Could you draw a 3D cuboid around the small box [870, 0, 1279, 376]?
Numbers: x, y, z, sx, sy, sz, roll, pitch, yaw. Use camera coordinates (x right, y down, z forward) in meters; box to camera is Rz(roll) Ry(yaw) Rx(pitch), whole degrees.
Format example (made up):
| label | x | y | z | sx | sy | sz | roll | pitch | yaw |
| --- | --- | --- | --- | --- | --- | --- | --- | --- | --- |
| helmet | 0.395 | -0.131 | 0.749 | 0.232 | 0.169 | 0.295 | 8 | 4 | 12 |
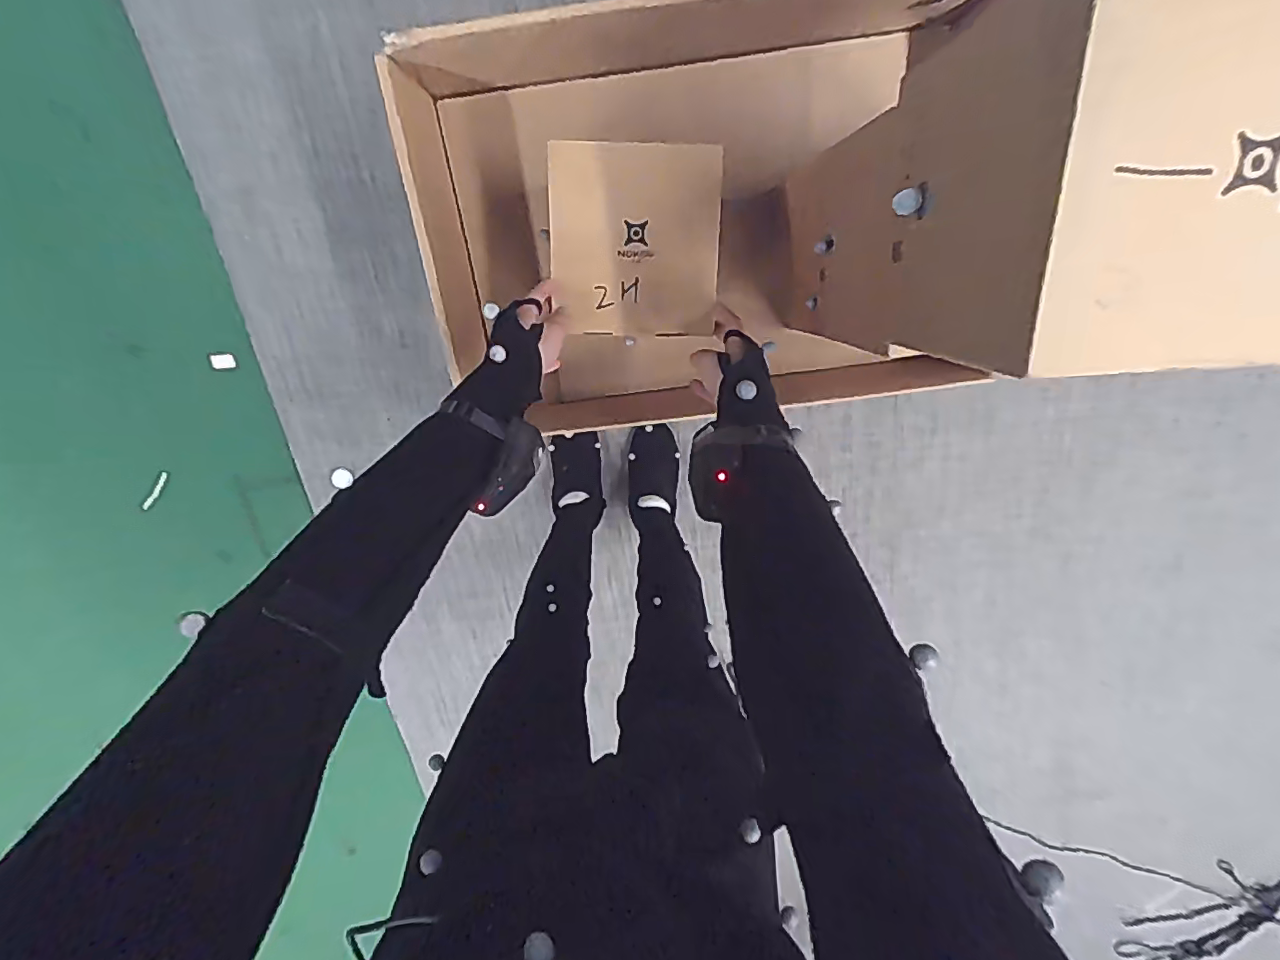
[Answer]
| label | x | y | z | sx | sy | sz | roll | pitch | yaw |
| --- | --- | --- | --- | --- | --- | --- | --- | --- | --- |
| small box | 0.252 | -0.156 | 0.297 | 0.179 | 0.176 | 0.168 | -3 | 110 | 2 |
